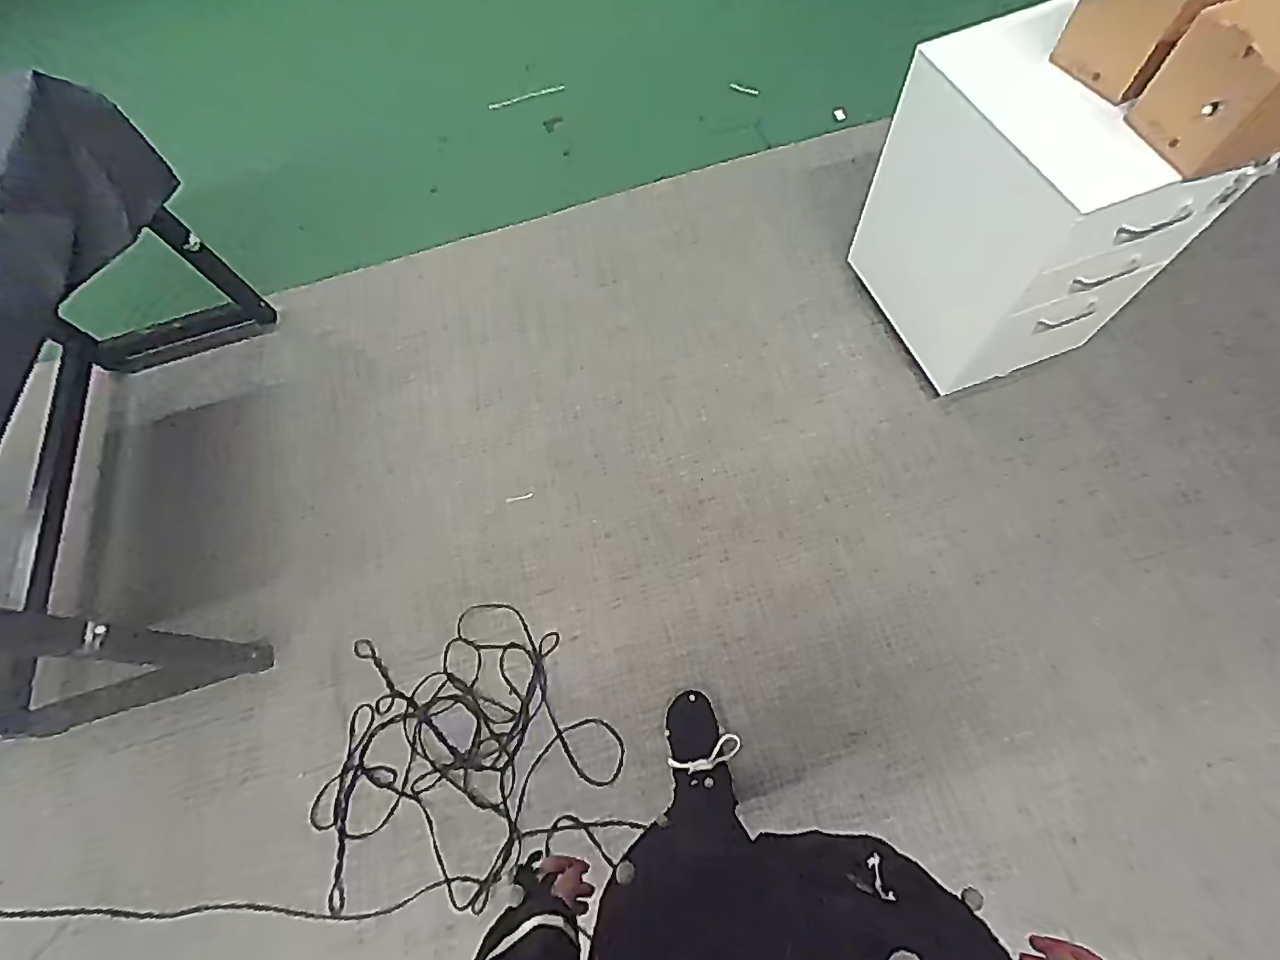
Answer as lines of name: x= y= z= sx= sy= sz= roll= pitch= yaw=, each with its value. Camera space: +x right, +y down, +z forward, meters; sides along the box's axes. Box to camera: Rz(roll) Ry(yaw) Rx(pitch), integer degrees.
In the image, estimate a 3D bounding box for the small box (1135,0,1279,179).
small box: x=0.932 y=-0.604 z=0.835 sx=0.179 sy=0.176 sz=0.168 roll=-16 pitch=66 yaw=-1
